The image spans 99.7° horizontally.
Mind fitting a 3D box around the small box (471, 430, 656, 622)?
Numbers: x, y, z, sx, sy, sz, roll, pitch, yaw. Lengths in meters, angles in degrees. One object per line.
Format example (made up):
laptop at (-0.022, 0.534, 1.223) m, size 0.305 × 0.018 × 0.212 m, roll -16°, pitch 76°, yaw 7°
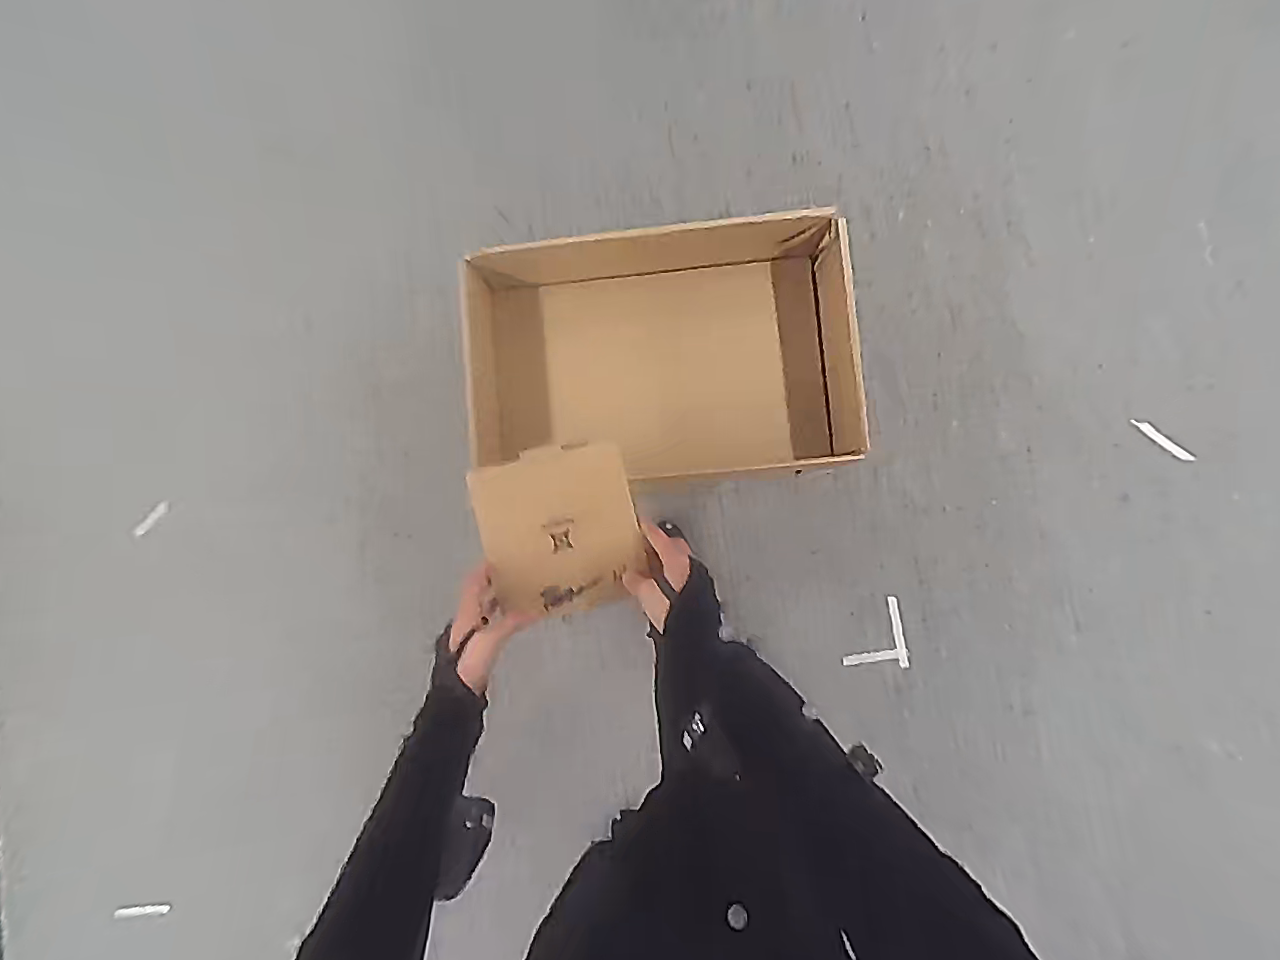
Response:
small box at (-0.084, 0.048, 0.647) m, size 0.168 × 0.176 × 0.179 m, roll -13°, pitch 91°, yaw -2°
